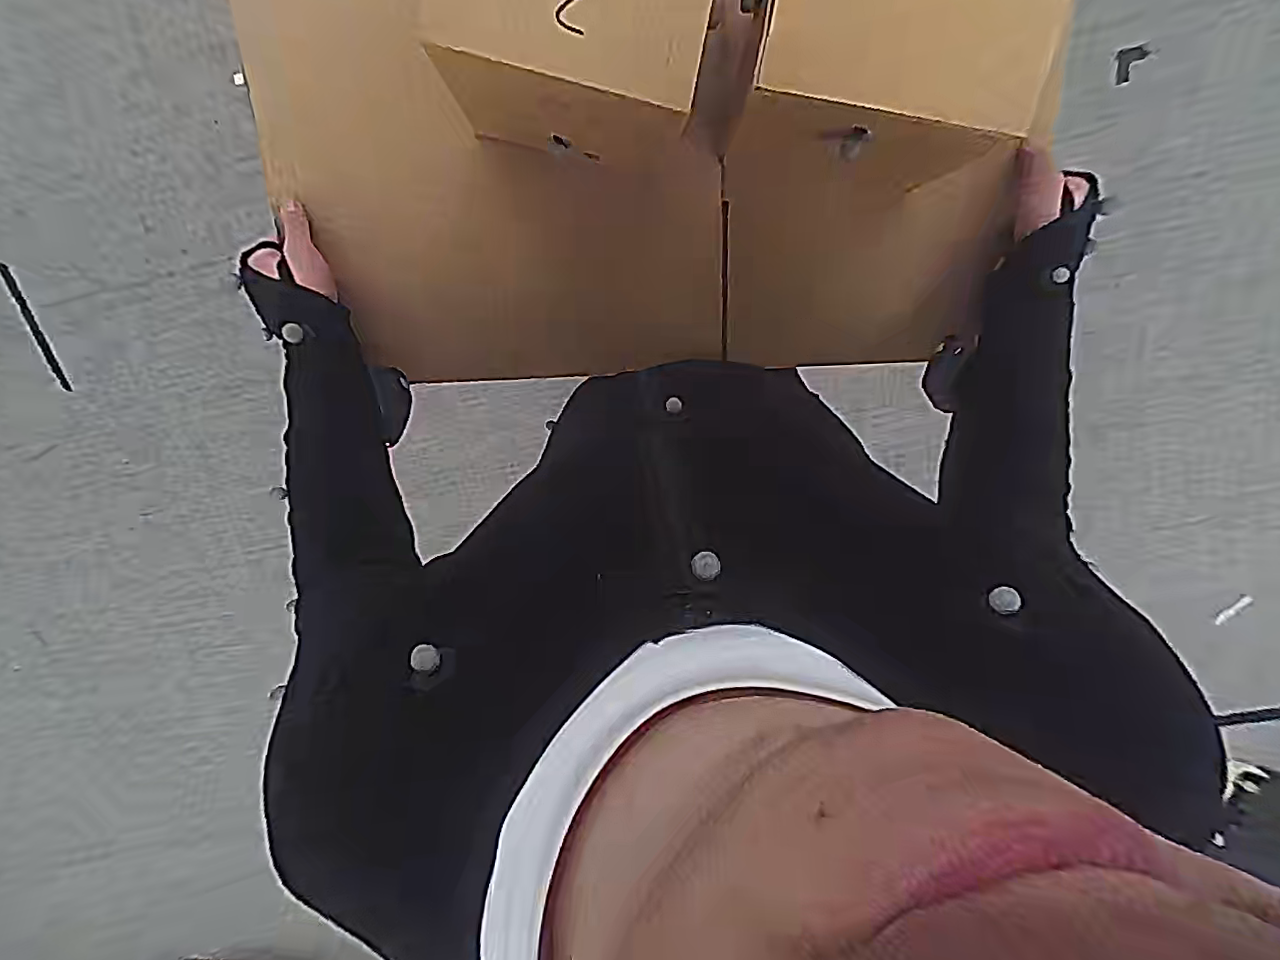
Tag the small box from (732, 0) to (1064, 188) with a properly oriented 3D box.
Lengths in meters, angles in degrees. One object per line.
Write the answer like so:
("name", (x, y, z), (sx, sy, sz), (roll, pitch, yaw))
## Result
("small box", (0.178, -0.335, 0.404), (0.179, 0.176, 0.168), (10, 107, 0))
